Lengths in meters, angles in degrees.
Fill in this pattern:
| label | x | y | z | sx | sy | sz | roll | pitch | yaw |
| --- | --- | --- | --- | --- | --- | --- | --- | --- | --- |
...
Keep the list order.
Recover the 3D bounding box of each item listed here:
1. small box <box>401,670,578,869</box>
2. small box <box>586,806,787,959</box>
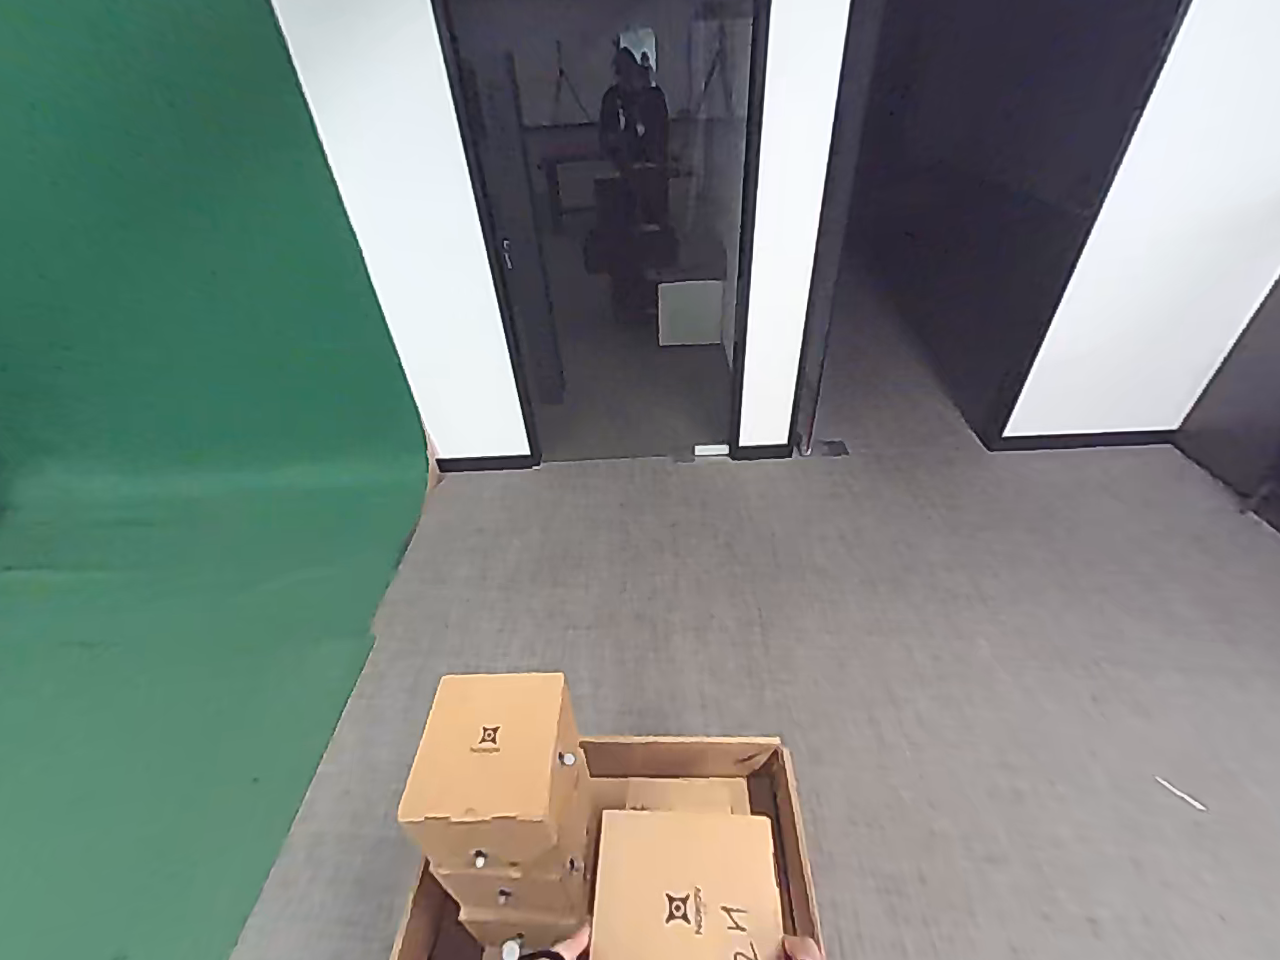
| label | x | y | z | sx | sy | sz | roll | pitch | yaw |
| --- | --- | --- | --- | --- | --- | --- | --- | --- | --- |
| small box | -0.176 | 0.370 | 0.697 | 0.168 | 0.176 | 0.179 | -2 | 39 | 2 |
| small box | 0.046 | 0.454 | 0.543 | 0.179 | 0.176 | 0.168 | 1 | 38 | 4 |
